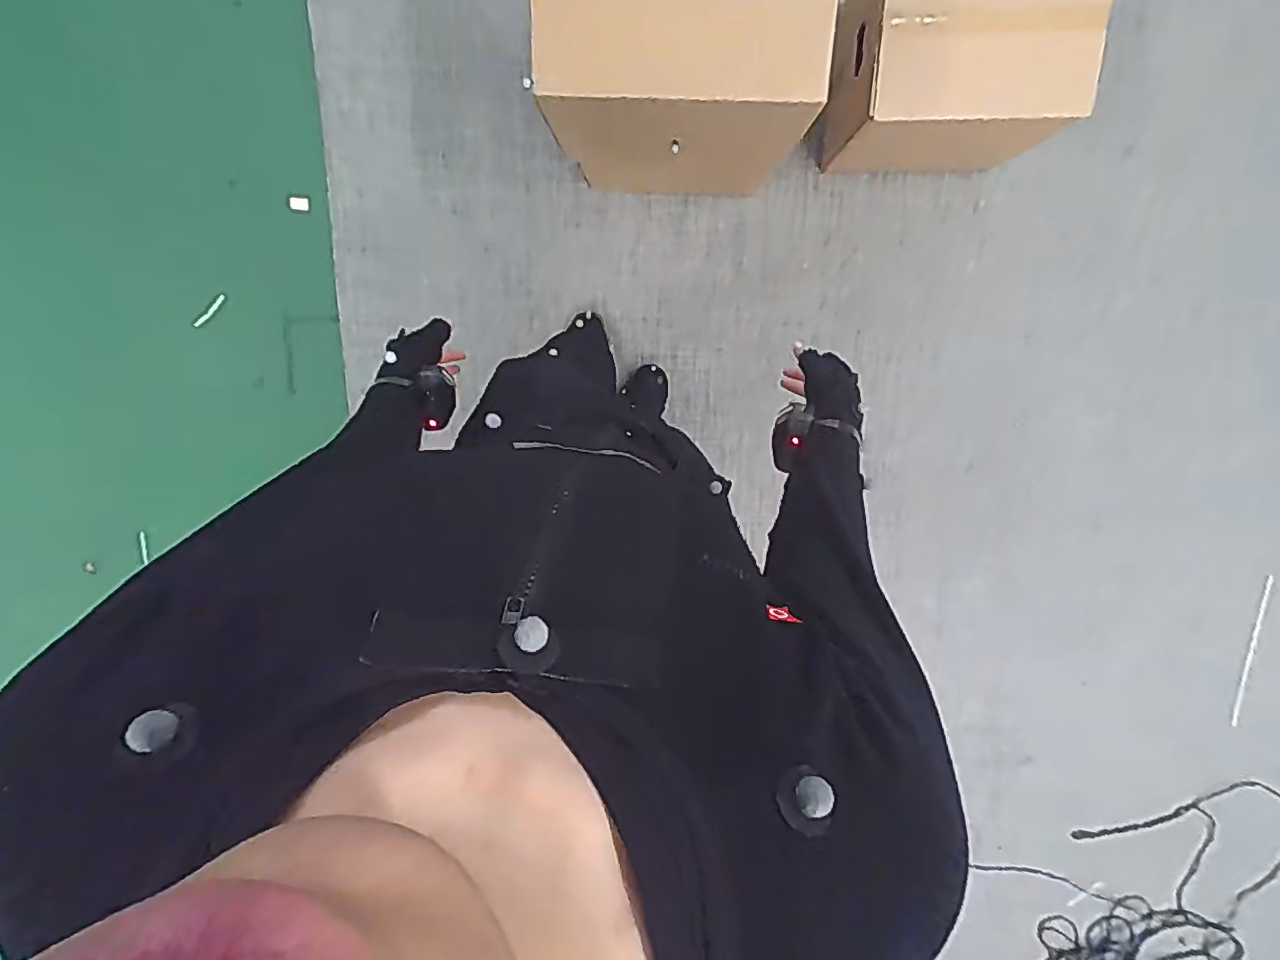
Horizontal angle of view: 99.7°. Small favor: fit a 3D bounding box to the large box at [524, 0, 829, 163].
[{"bbox_3d":[0.055,-0.704,0.836,0.408,0.320,0.320,3,105,2],"label":"large box"}]
